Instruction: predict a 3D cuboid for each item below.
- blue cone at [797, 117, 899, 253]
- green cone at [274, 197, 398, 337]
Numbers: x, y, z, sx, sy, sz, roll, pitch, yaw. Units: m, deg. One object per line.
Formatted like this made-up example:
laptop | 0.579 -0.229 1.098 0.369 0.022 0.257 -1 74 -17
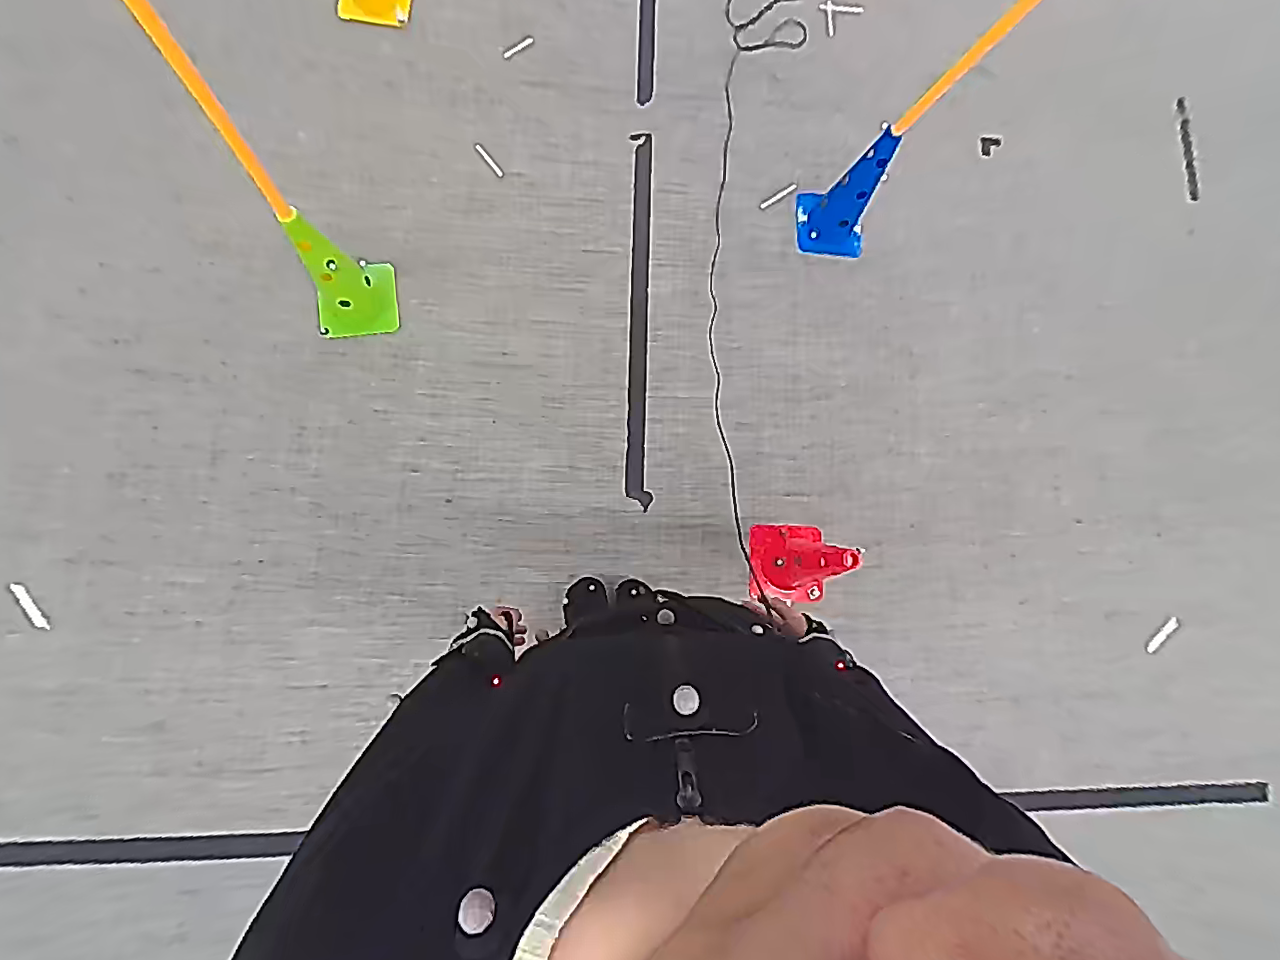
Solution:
blue cone | 0.585 -0.807 1.470 0.193 0.380 0.192 5 79 -5
green cone | -0.733 -0.515 1.267 0.200 0.368 0.202 -9 79 -8
